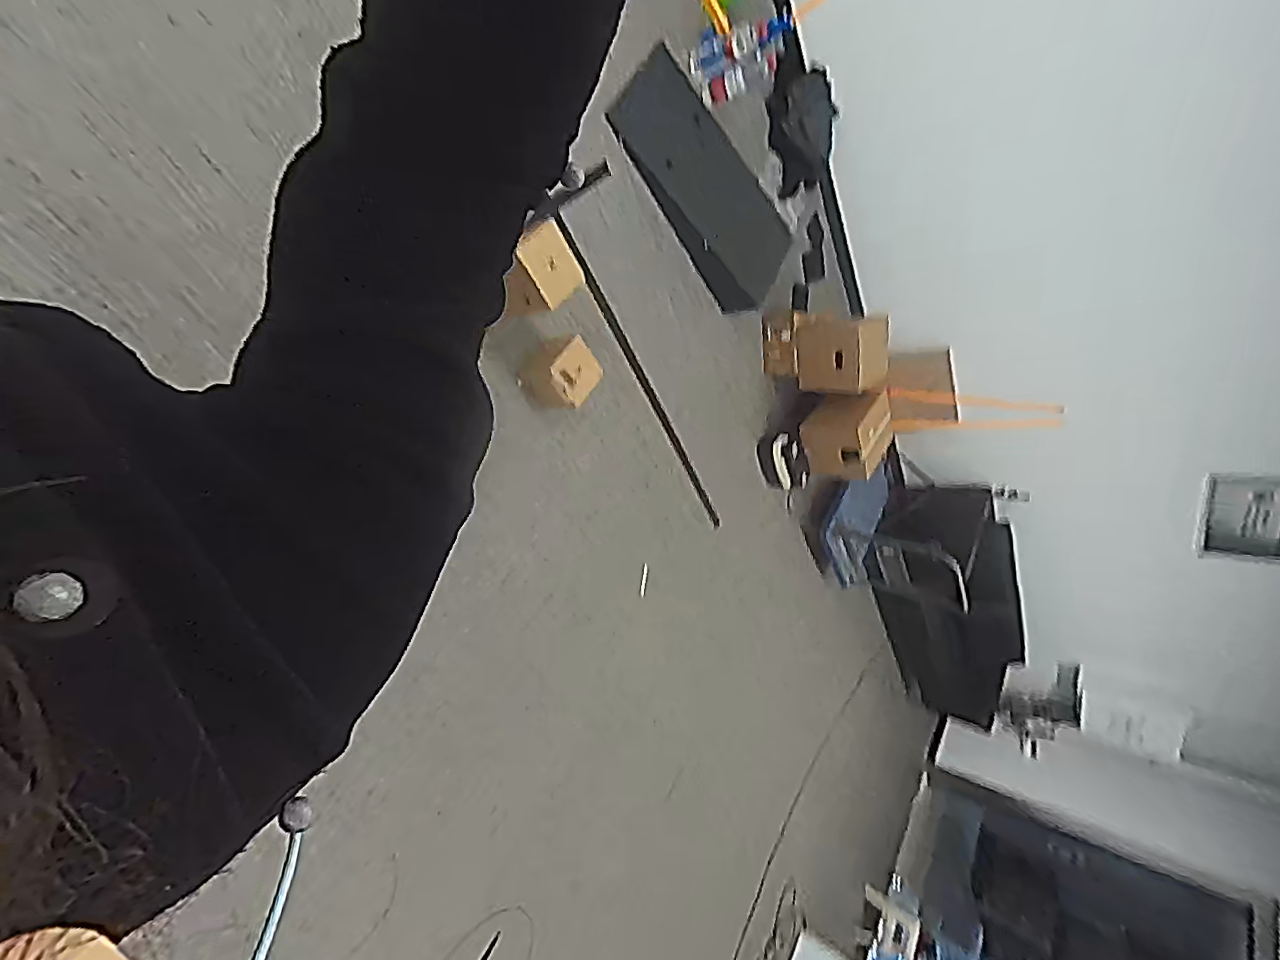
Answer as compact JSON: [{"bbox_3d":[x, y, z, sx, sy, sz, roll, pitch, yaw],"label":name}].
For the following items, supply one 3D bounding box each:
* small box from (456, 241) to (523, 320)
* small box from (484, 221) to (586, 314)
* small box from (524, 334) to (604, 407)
[{"bbox_3d":[-0.407,-0.593,1.609,0.168,0.176,0.179,-52,130,-29],"label":"small box"},{"bbox_3d":[-0.290,-0.578,1.495,0.168,0.176,0.179,-54,129,-28],"label":"small box"},{"bbox_3d":[-0.260,-0.358,1.797,0.168,0.176,0.179,52,58,-37],"label":"small box"}]
